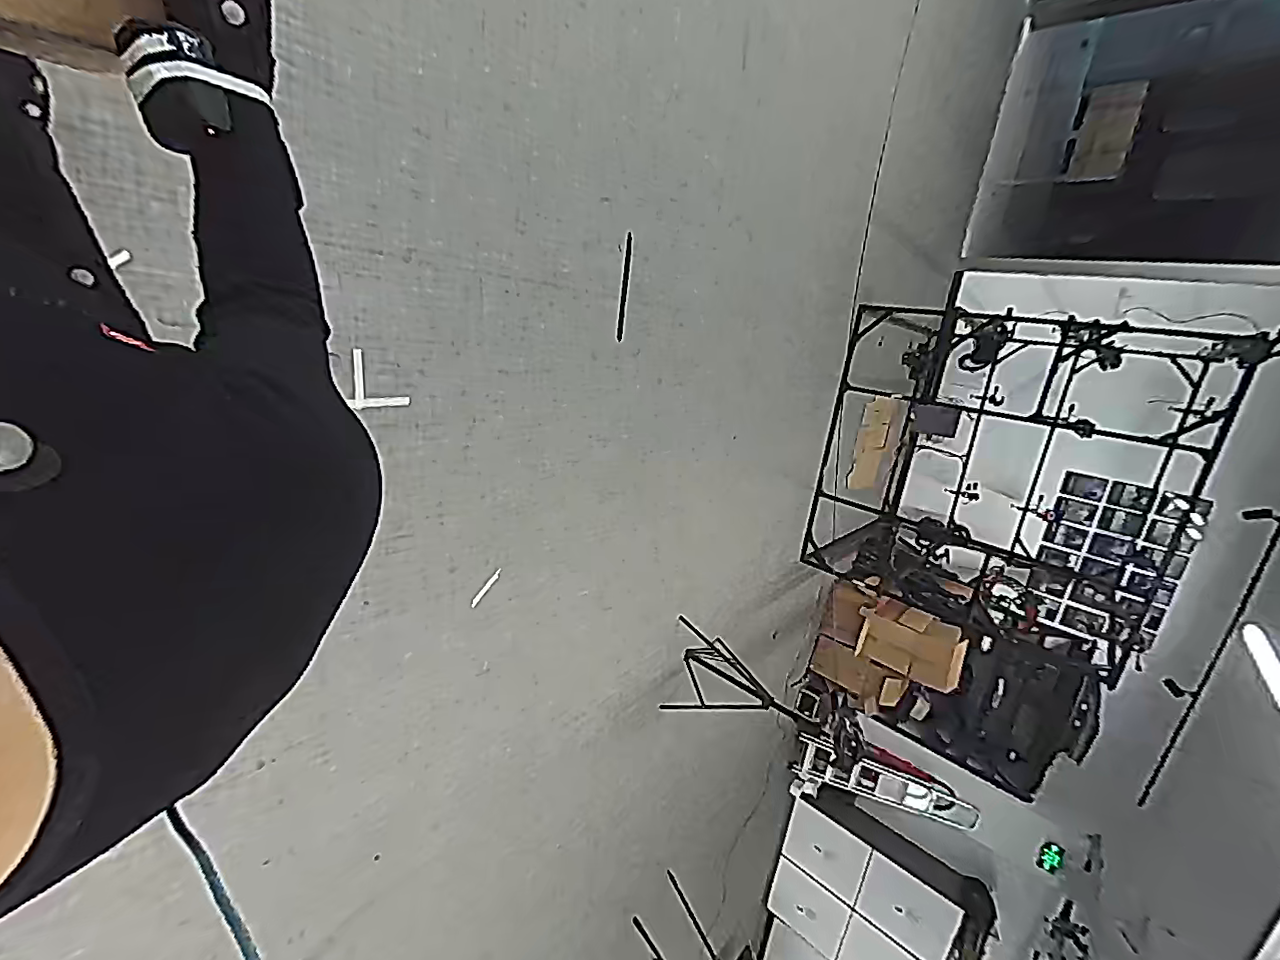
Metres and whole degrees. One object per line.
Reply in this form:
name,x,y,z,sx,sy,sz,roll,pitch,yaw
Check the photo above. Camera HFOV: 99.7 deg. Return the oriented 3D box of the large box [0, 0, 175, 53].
large box,-0.556,-0.481,0.276,0.408,0.320,0.320,-16,127,-49
